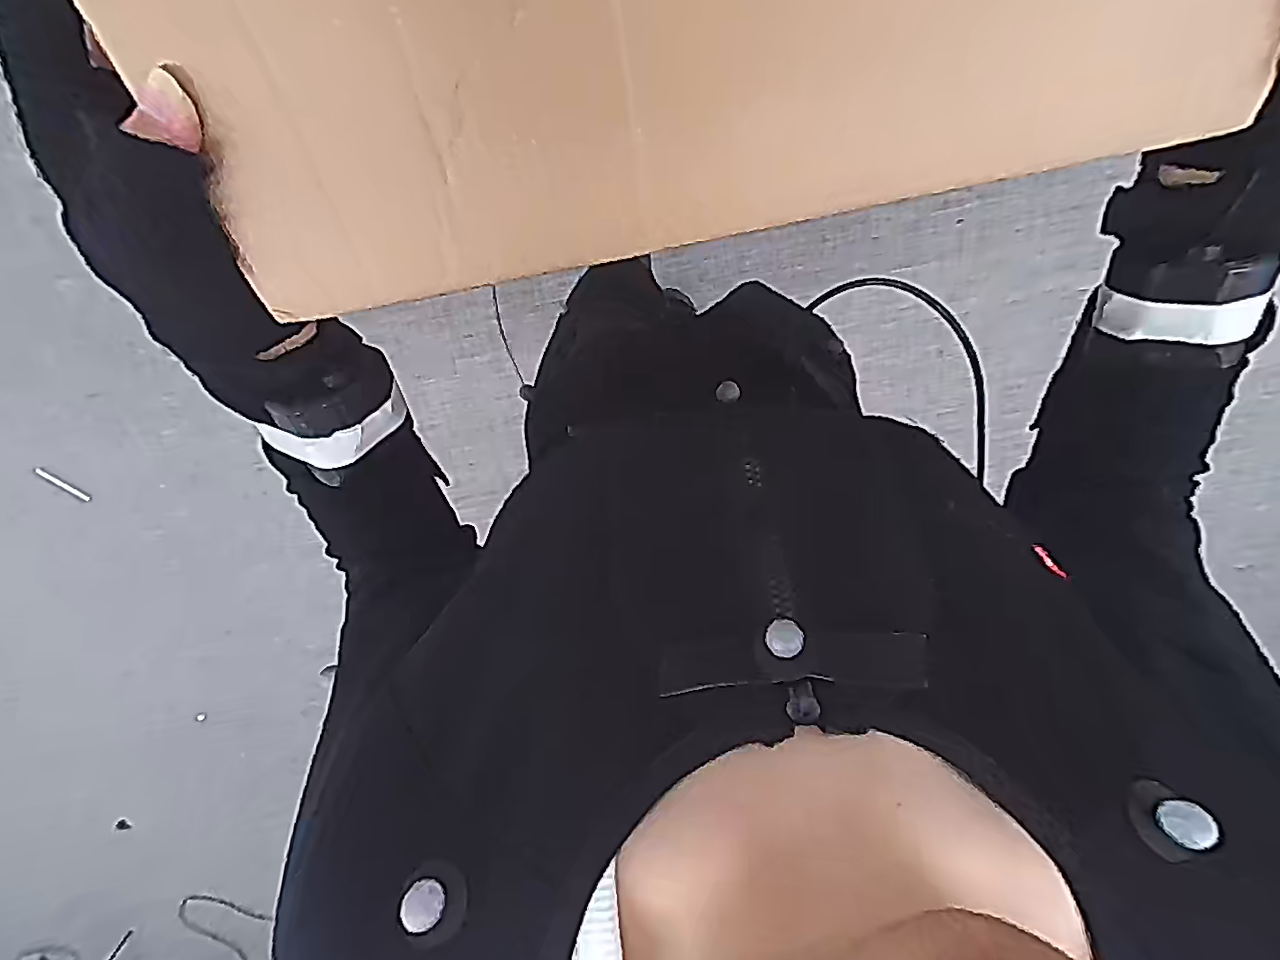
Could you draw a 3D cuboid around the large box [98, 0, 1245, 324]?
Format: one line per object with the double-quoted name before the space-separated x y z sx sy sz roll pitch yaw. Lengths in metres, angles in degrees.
"large box" 0.001 -0.316 0.262 0.408 0.320 0.320 -10 127 3
